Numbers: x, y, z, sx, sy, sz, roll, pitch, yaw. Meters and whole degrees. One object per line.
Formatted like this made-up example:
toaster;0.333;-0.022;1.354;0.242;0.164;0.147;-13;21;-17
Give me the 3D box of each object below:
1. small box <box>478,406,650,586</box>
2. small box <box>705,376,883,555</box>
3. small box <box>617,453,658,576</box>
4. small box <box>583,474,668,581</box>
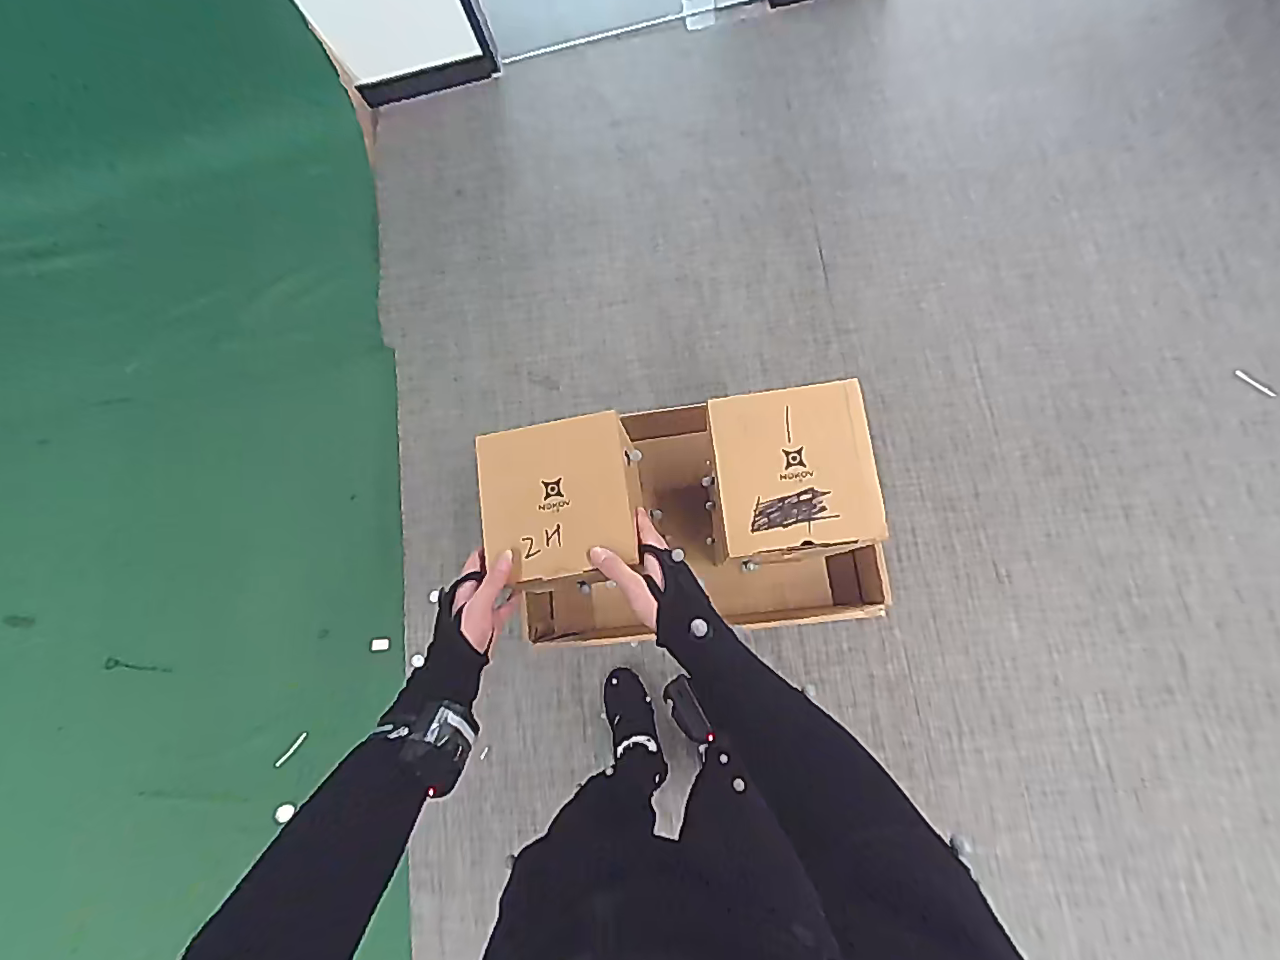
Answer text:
small box;-0.086;0.031;0.670;0.168;0.176;0.179;-10;76;5
small box;0.171;-0.004;0.650;0.168;0.176;0.179;-7;78;6
small box;-0.068;0.065;0.837;0.179;0.176;0.168;-10;78;4
small box;-0.049;0.095;0.997;0.179;0.176;0.168;-8;78;4
